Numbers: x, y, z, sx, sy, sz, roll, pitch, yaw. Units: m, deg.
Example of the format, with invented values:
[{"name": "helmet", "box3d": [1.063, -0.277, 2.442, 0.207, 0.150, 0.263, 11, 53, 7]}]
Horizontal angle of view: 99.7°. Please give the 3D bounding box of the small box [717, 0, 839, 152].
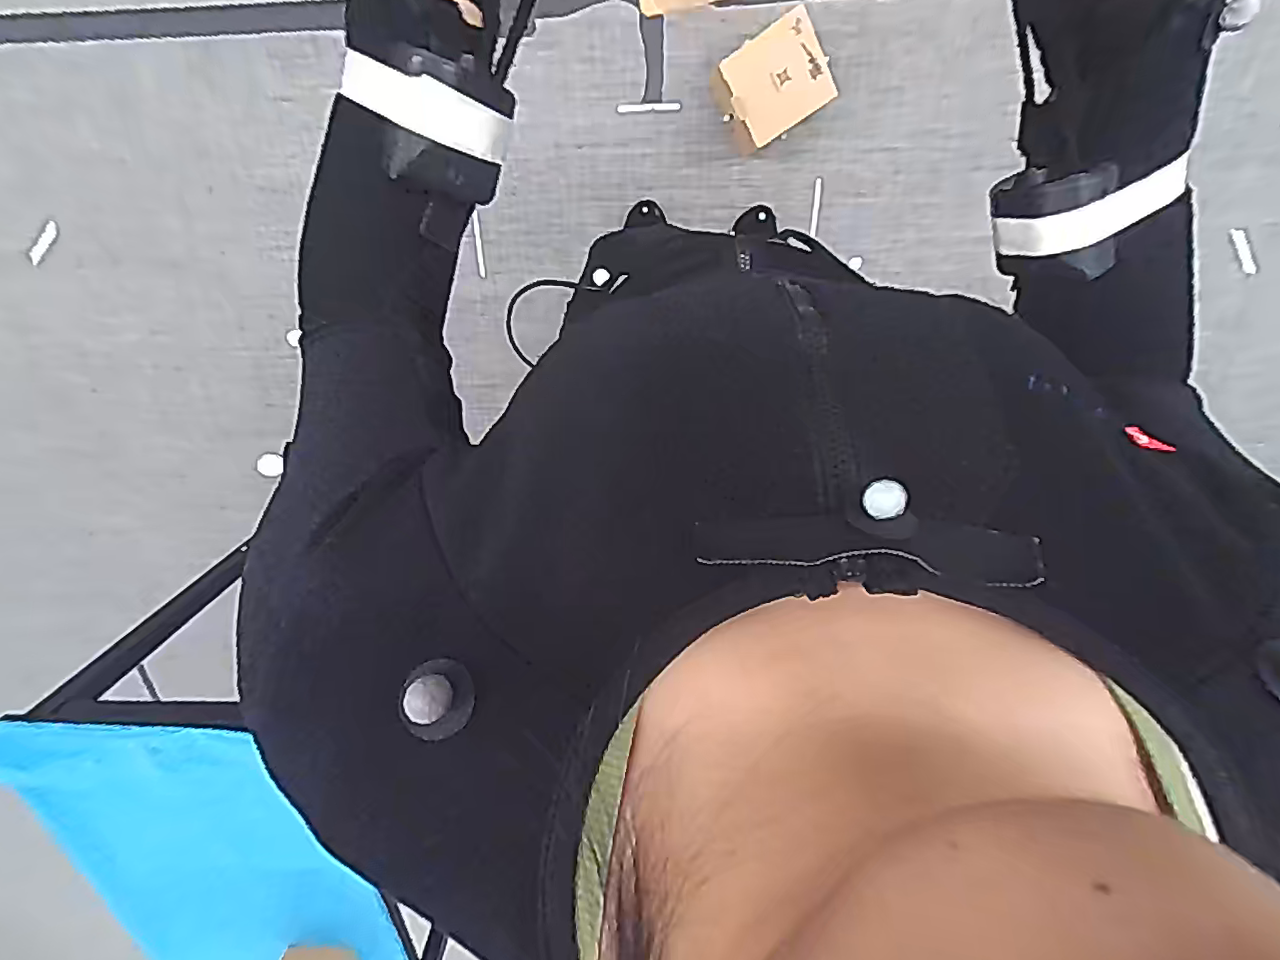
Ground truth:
[{"name": "small box", "box3d": [0.267, -0.796, 1.093, 0.179, 0.176, 0.168, -31, 111, 15]}]
